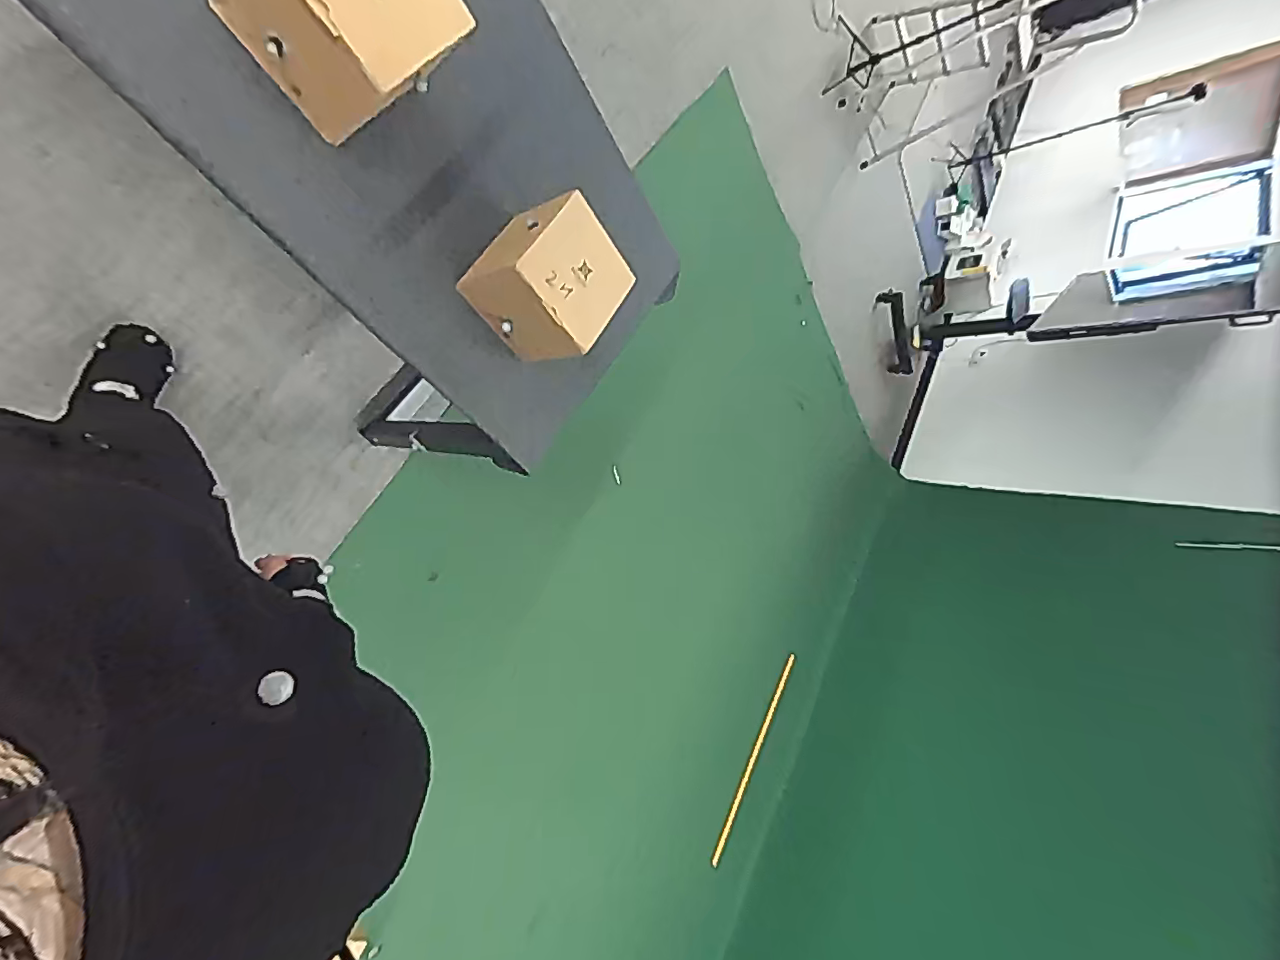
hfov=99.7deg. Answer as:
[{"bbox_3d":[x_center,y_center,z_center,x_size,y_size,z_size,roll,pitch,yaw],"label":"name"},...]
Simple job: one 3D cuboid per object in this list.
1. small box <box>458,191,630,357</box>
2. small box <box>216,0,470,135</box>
[{"bbox_3d":[-0.154,-0.316,0.860,0.168,0.176,0.179,49,61,-38],"label":"small box"},{"bbox_3d":[-0.344,-0.547,0.629,0.168,0.176,0.179,52,59,-38],"label":"small box"}]
